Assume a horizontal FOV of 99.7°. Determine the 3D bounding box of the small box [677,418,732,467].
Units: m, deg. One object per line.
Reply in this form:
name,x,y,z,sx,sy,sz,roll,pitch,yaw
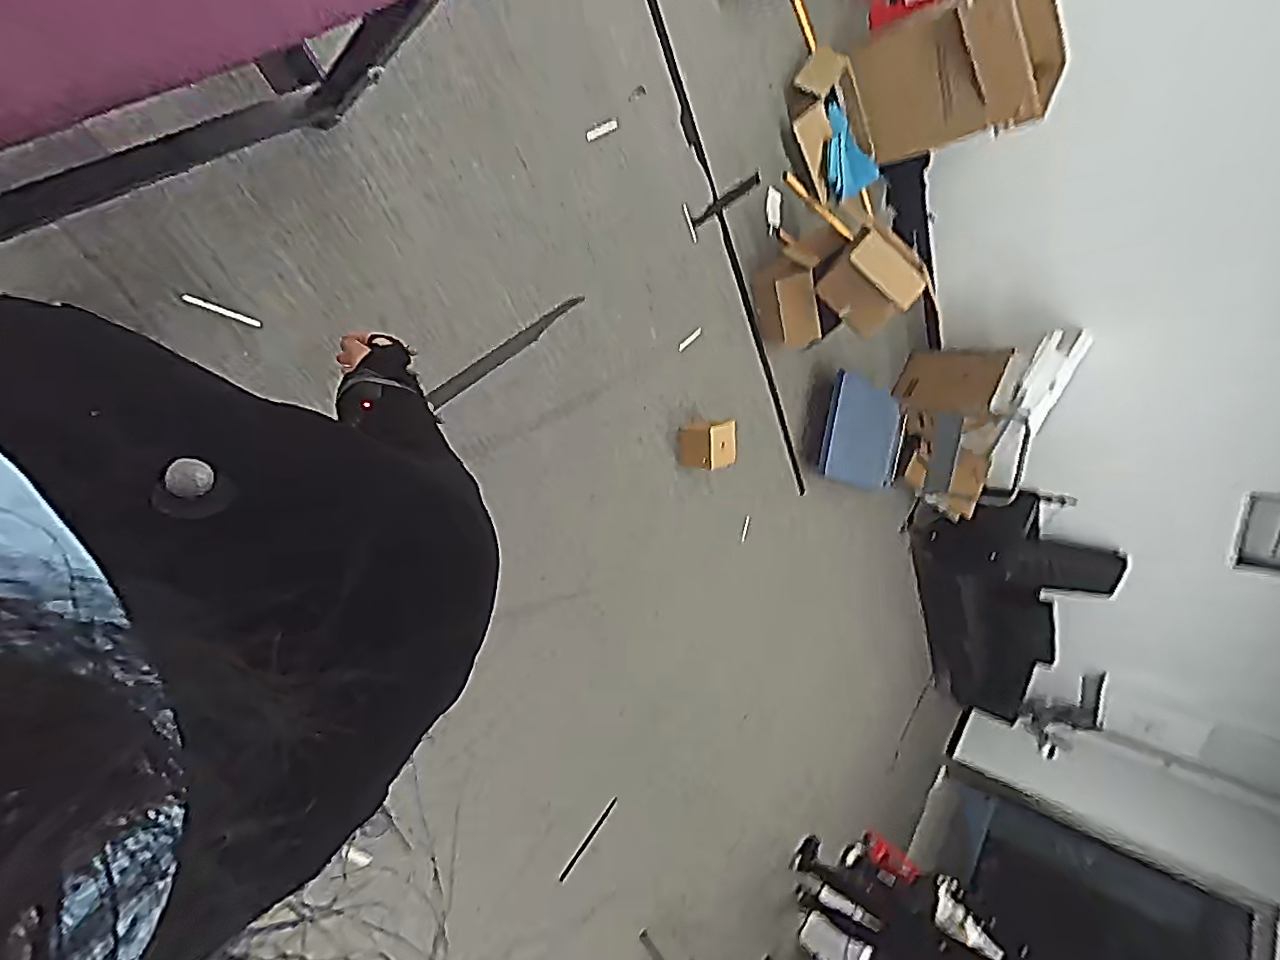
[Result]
small box,0.269,-0.162,2.282,0.168,0.176,0.179,-20,112,-41
